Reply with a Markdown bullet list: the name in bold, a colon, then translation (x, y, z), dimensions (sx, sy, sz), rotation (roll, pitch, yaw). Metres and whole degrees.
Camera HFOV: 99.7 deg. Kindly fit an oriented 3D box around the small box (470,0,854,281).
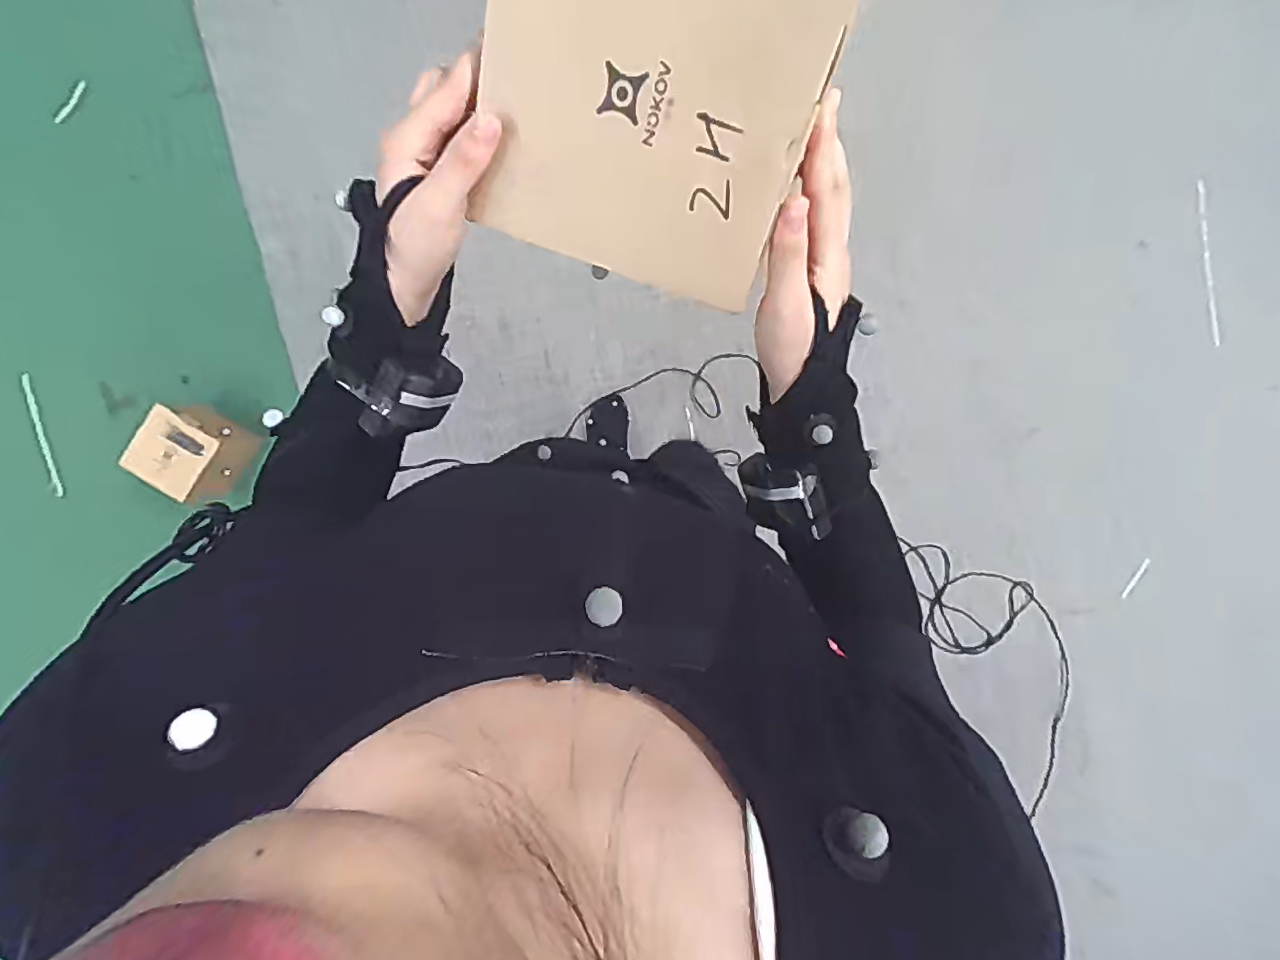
- **small box**: translation (0.019, -0.244, 0.344), dimensions (0.179, 0.176, 0.168), rotation (20, 120, 2)
